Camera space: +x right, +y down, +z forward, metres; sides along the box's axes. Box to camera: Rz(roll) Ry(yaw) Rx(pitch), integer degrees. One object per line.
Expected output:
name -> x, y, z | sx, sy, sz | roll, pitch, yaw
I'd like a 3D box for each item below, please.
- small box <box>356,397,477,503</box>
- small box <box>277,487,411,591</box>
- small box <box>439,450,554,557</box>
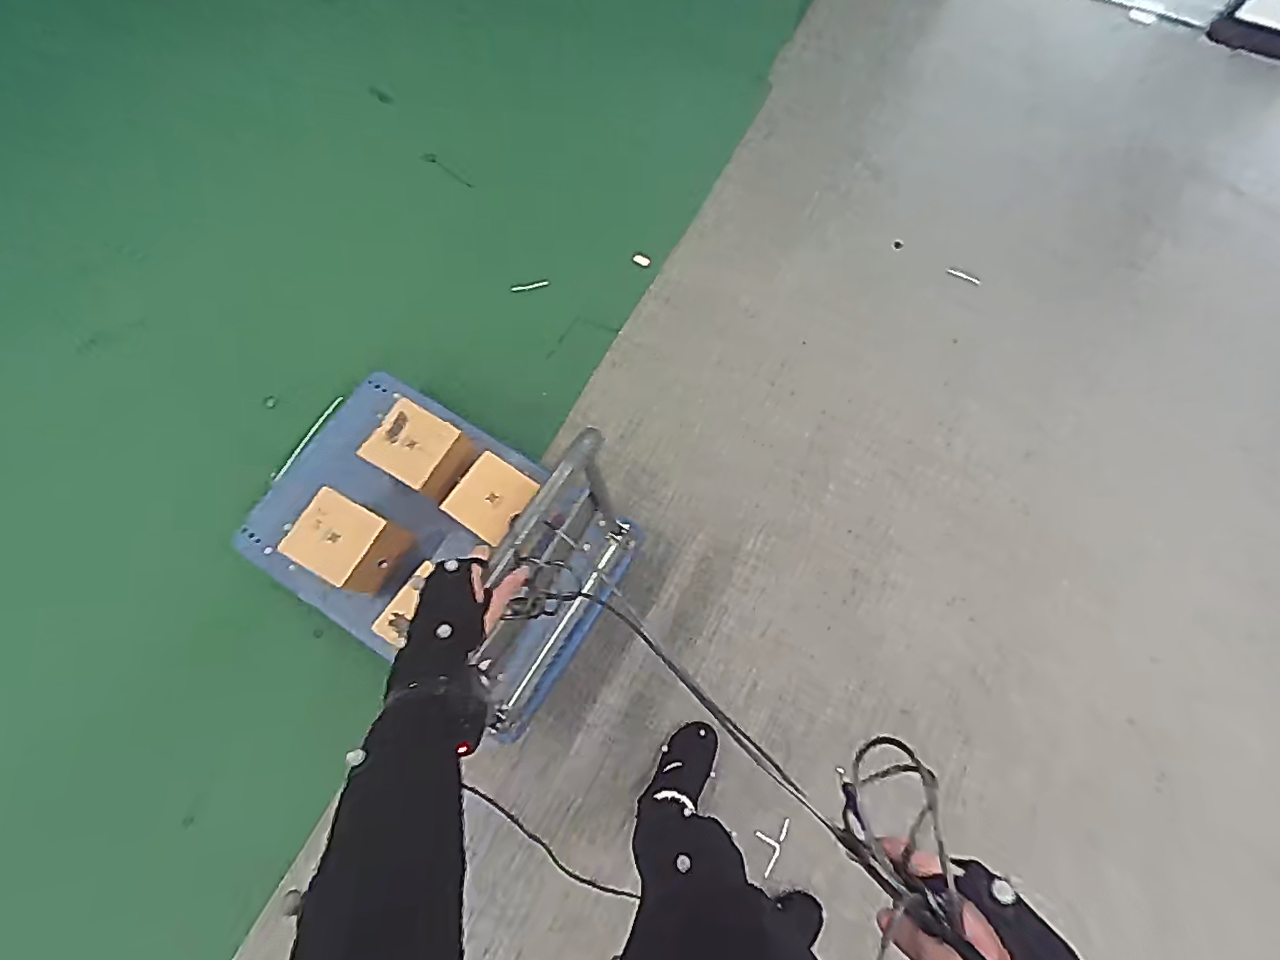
small box -> -0.526, -0.063, 1.299 | 0.179, 0.176, 0.168 | 30, 76, 8
small box -> -0.664, 0.143, 1.239 | 0.179, 0.176, 0.168 | 28, 75, 9
small box -> -0.324, 0.063, 1.258 | 0.179, 0.176, 0.168 | 33, 76, 10
